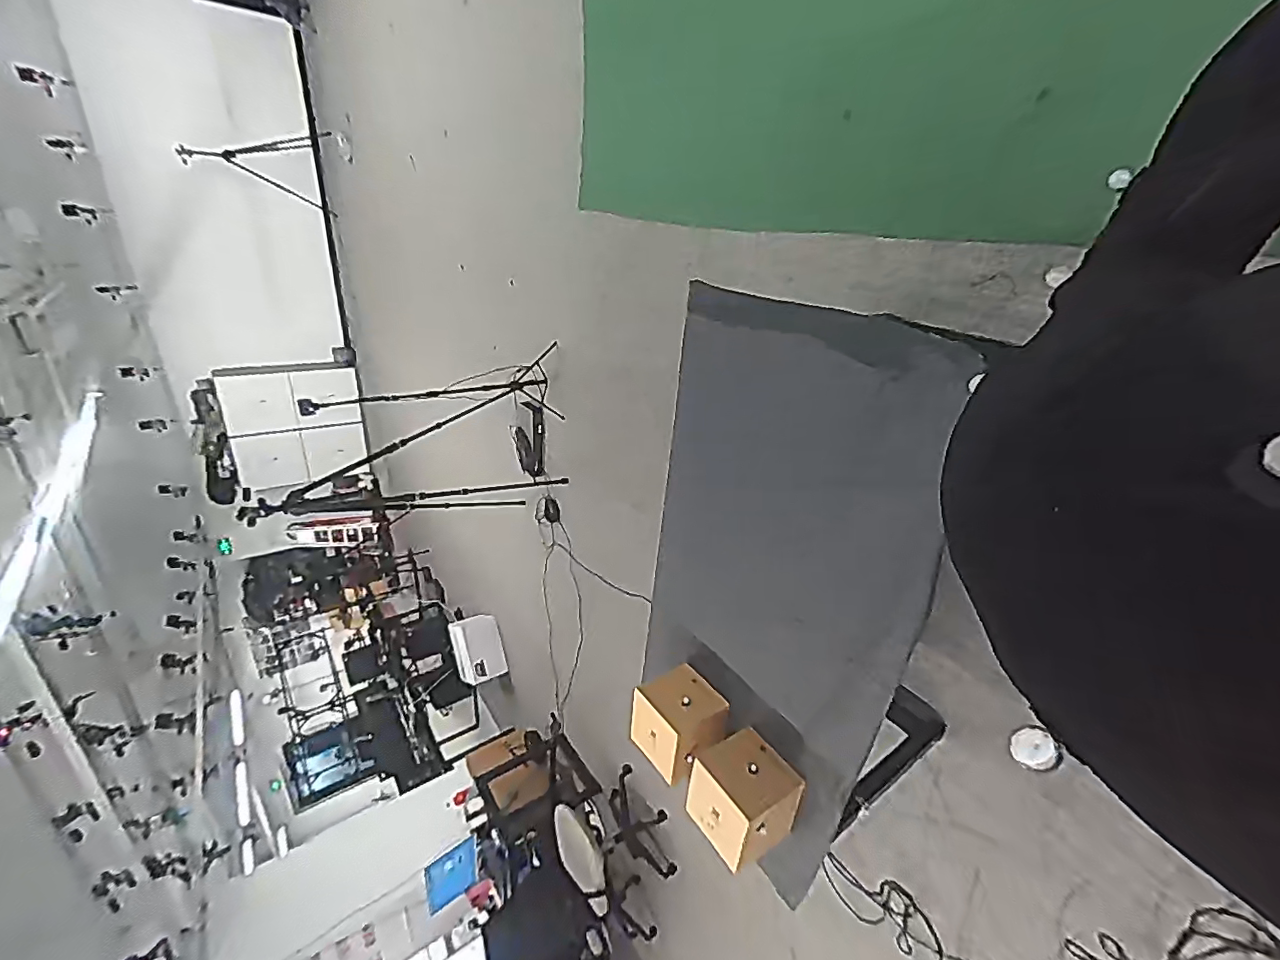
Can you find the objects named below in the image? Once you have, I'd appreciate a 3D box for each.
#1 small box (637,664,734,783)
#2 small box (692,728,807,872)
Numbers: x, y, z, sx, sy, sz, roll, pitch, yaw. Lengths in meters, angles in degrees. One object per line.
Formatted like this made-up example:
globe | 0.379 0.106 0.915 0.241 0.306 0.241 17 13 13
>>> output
small box | 0.111 0.589 1.332 0.168 0.176 0.179 32 128 46
small box | 0.236 0.680 1.171 0.168 0.176 0.179 35 128 47
